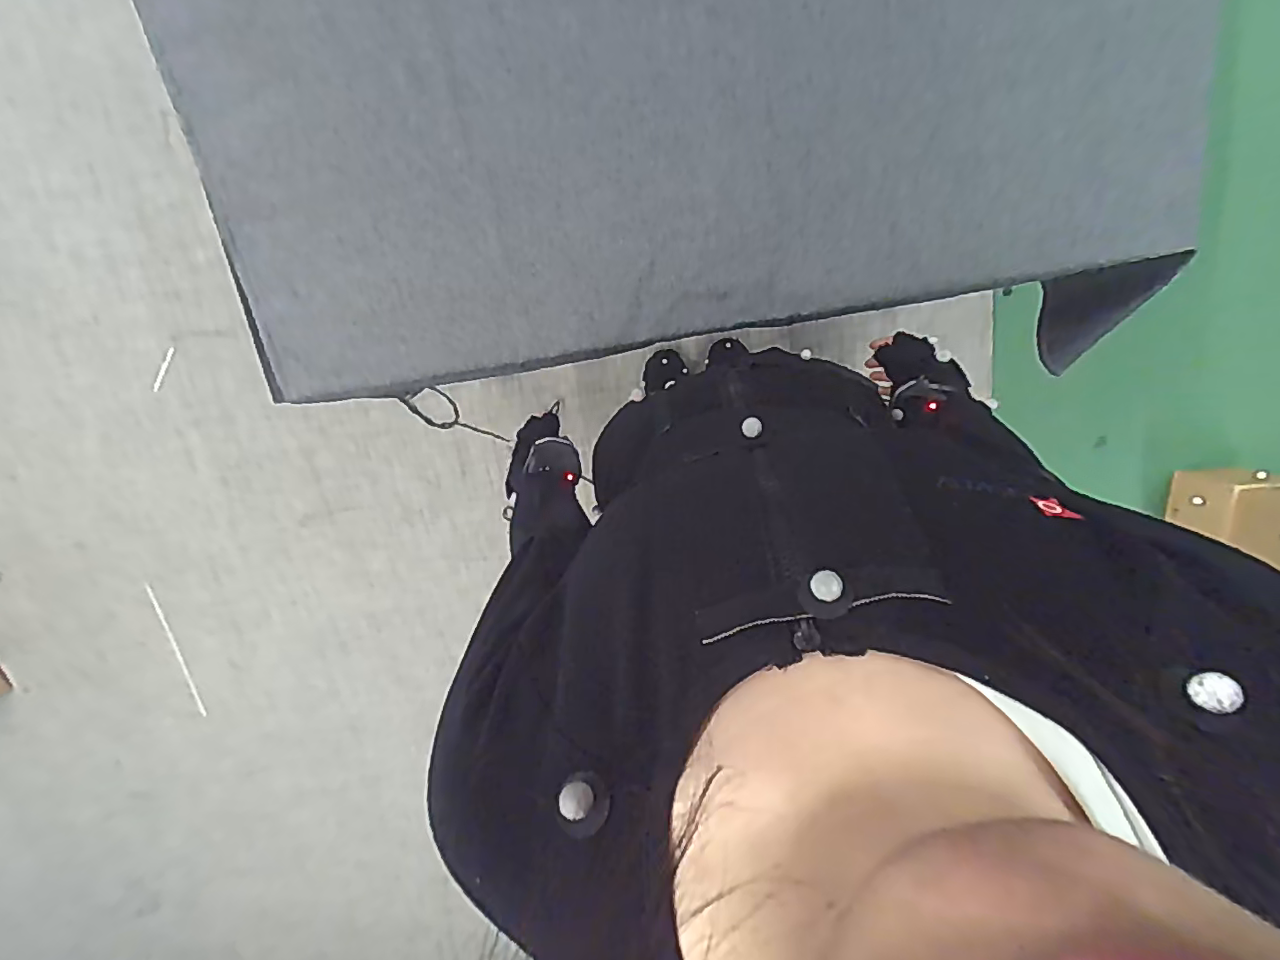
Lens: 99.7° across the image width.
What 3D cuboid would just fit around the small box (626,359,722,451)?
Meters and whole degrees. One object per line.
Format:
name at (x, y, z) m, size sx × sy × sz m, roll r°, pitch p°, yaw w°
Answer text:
small box at (0.083, -0.196, 1.387) m, size 0.179 × 0.176 × 0.168 m, roll 33°, pitch 116°, yaw 12°

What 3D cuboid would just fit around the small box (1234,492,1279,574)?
small box at (1.501, 0.124, 1.206) m, size 0.168 × 0.176 × 0.179 m, roll -4°, pitch 103°, yaw 4°

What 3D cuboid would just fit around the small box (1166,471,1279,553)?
small box at (1.497, 0.076, 1.364) m, size 0.179 × 0.176 × 0.168 m, roll -3°, pitch 104°, yaw 3°

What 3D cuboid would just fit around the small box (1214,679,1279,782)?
small box at (1.591, 0.610, 1.326) m, size 0.179 × 0.176 × 0.168 m, roll -6°, pitch 104°, yaw 4°
